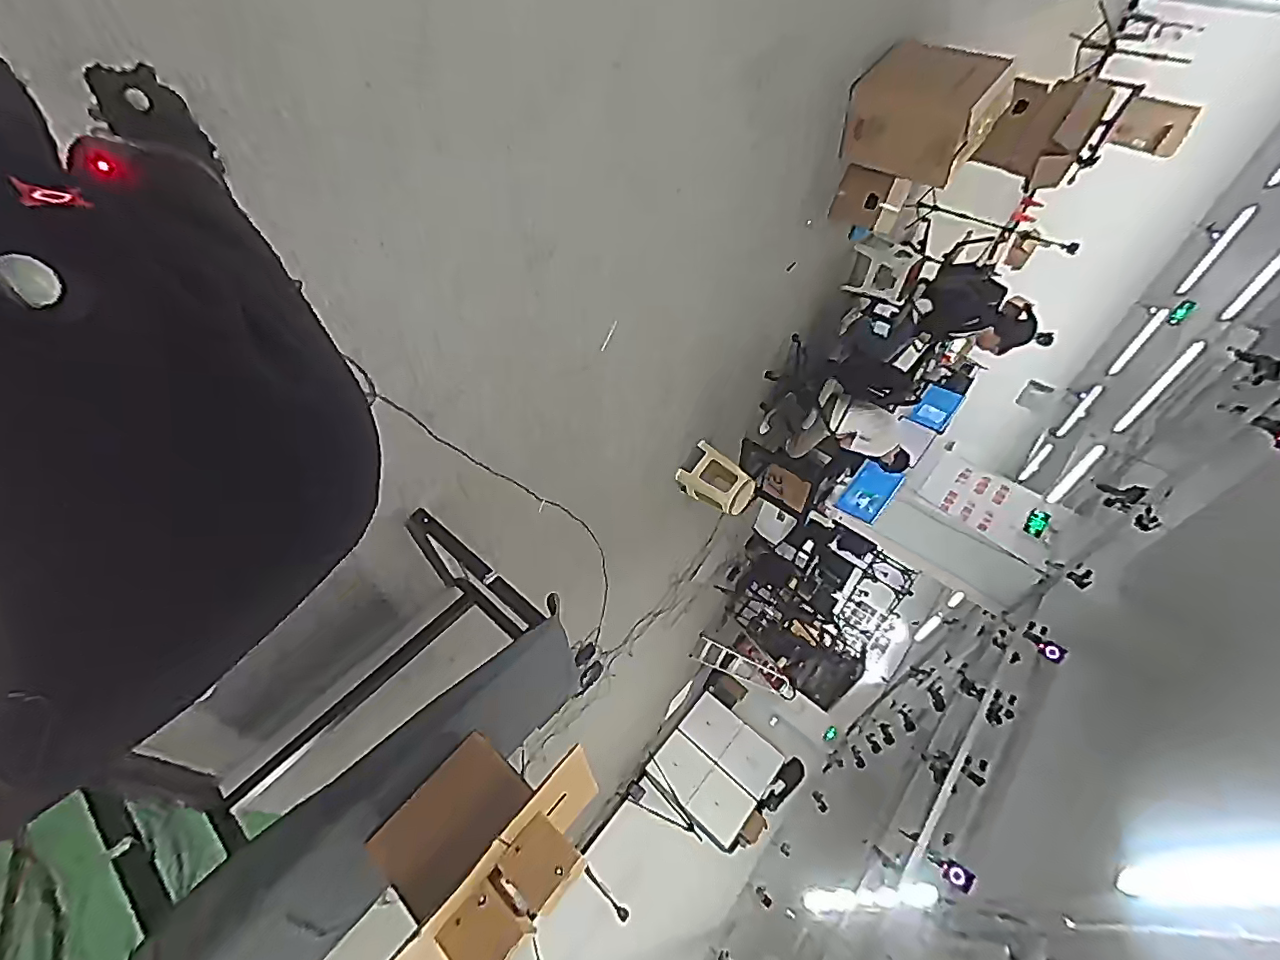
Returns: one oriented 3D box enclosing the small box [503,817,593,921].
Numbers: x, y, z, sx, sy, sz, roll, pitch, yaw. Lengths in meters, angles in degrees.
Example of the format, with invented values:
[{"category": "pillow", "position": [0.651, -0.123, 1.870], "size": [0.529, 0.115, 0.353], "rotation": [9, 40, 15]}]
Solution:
[{"category": "small box", "position": [-0.253, 1.072, 1.495], "size": [0.168, 0.176, 0.179], "rotation": [-44, 152, -29]}]
